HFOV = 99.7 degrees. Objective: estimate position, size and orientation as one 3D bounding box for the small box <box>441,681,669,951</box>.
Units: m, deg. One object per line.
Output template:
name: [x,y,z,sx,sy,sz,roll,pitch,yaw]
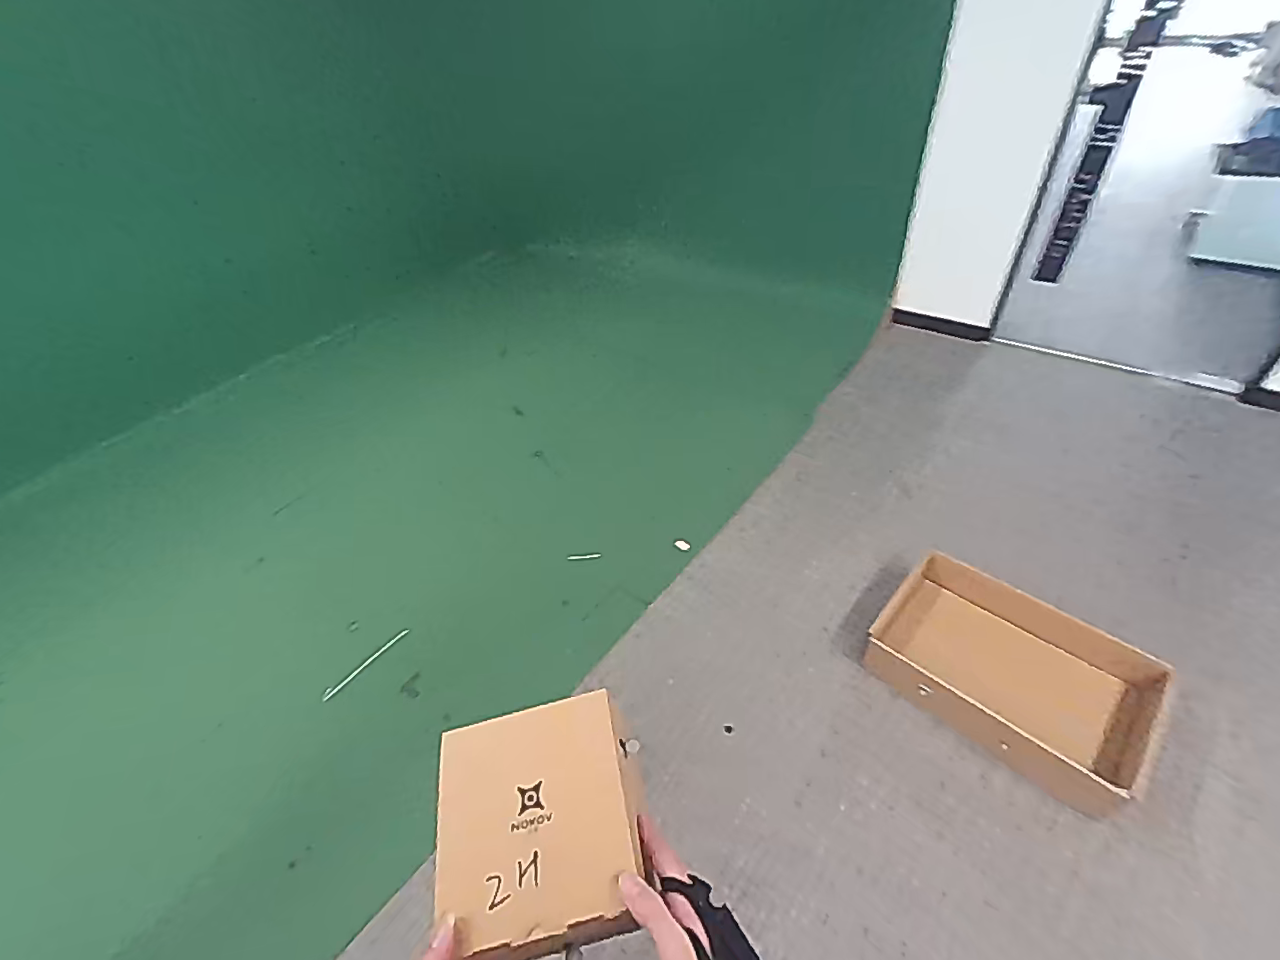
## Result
small box: [-0.074,0.329,0.528,0.168,0.176,0.179,-14,47,0]
